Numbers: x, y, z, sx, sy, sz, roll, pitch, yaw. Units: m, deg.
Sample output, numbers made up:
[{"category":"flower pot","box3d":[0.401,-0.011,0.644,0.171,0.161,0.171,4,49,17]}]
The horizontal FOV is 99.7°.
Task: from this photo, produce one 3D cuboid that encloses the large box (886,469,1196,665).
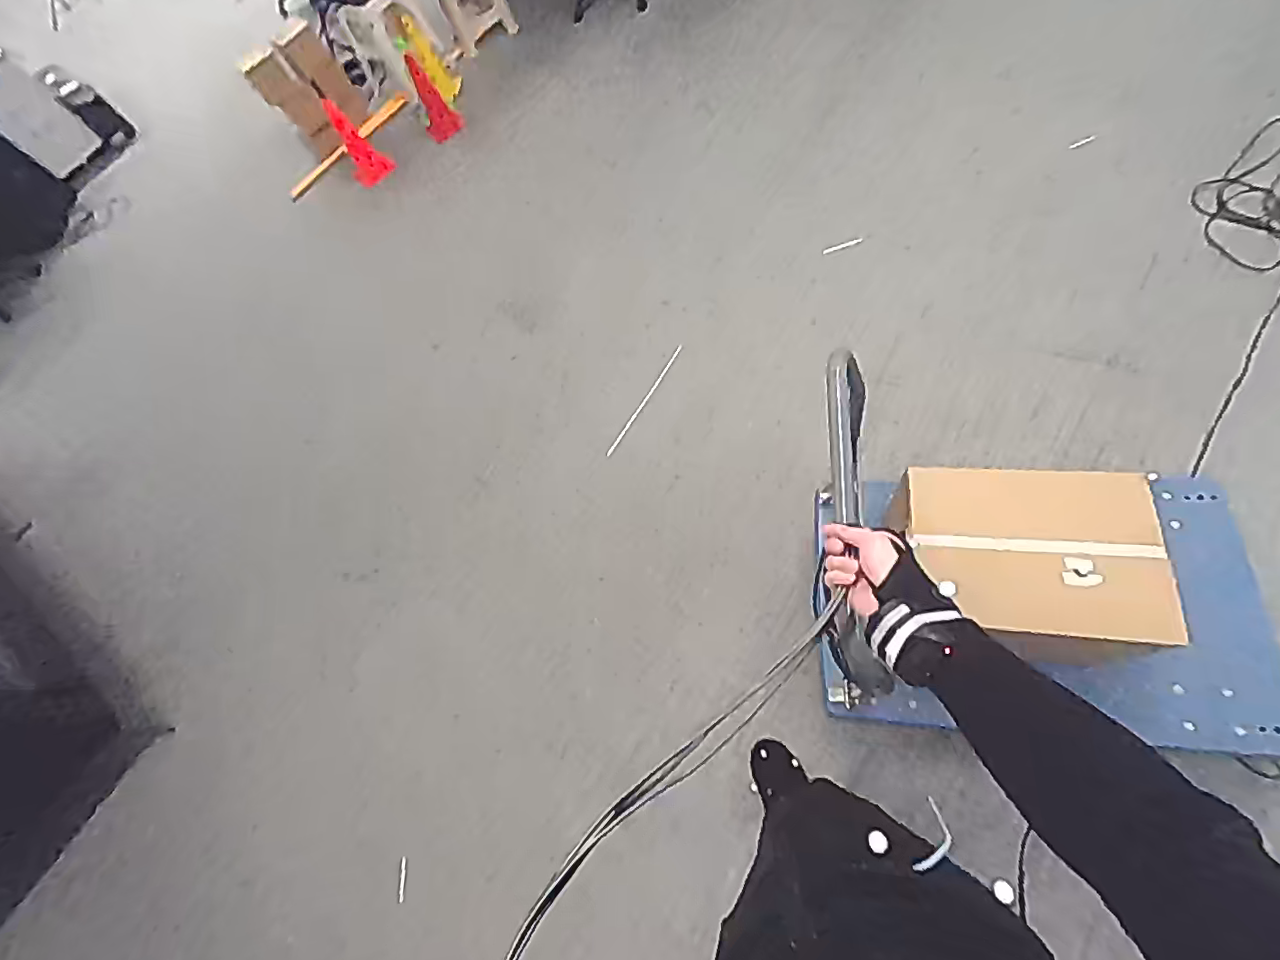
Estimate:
[{"category":"large box","box3d":[0.754,0.184,1.106,0.408,0.320,0.320,2,67,15]}]
